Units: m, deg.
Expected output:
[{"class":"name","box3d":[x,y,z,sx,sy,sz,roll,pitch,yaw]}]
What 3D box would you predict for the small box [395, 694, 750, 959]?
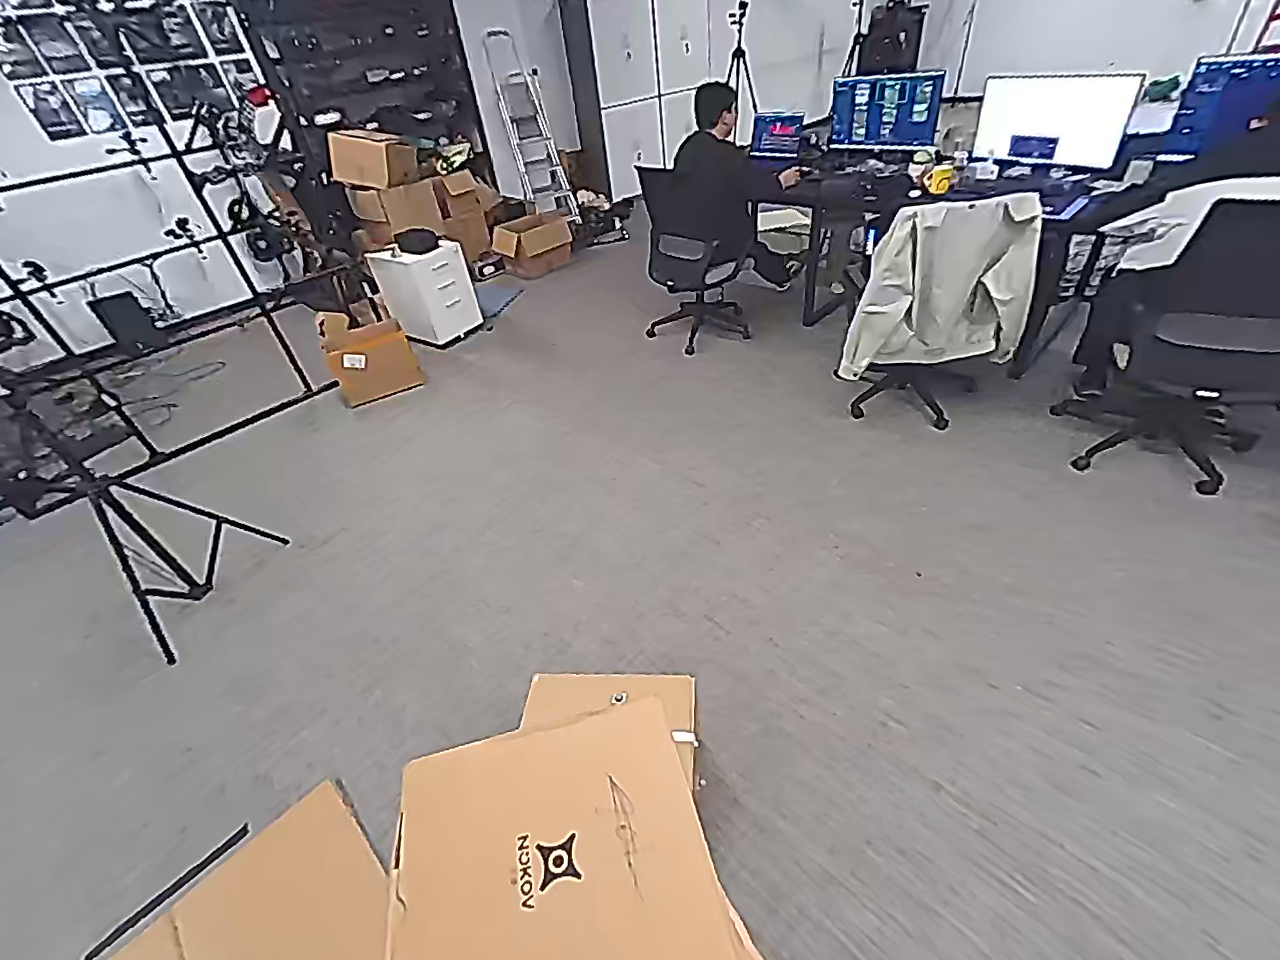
[{"class":"small box","box3d":[-0.041,0.277,0.353,0.179,0.176,0.168,-12,40,-10]}]
